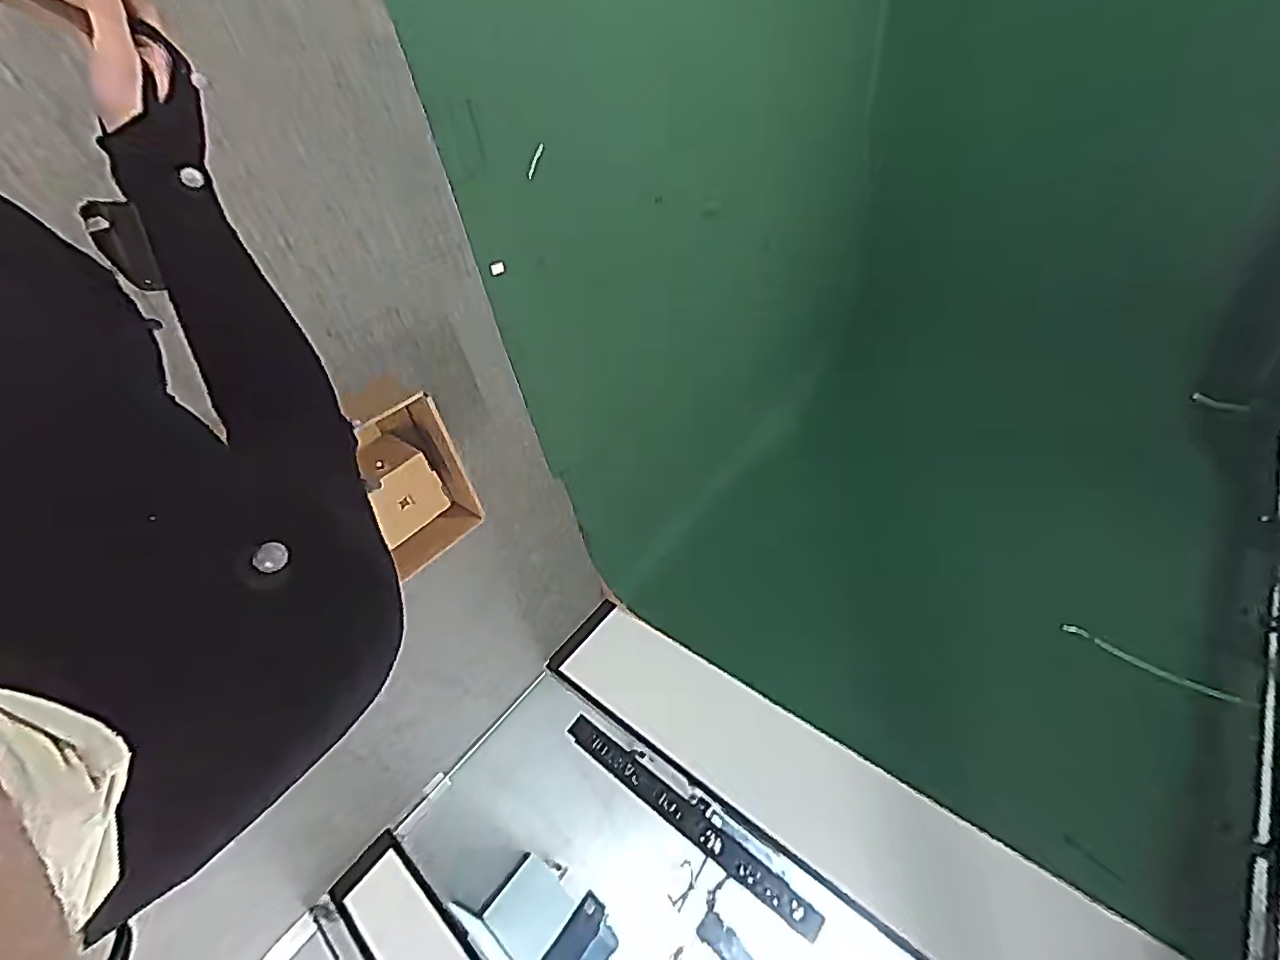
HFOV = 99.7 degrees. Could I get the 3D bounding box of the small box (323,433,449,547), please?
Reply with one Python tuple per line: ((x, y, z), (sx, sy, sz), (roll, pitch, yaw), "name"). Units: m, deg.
((-0.584, 0.016, 1.245), (0.179, 0.176, 0.168), (-41, 137, -30), "small box")
